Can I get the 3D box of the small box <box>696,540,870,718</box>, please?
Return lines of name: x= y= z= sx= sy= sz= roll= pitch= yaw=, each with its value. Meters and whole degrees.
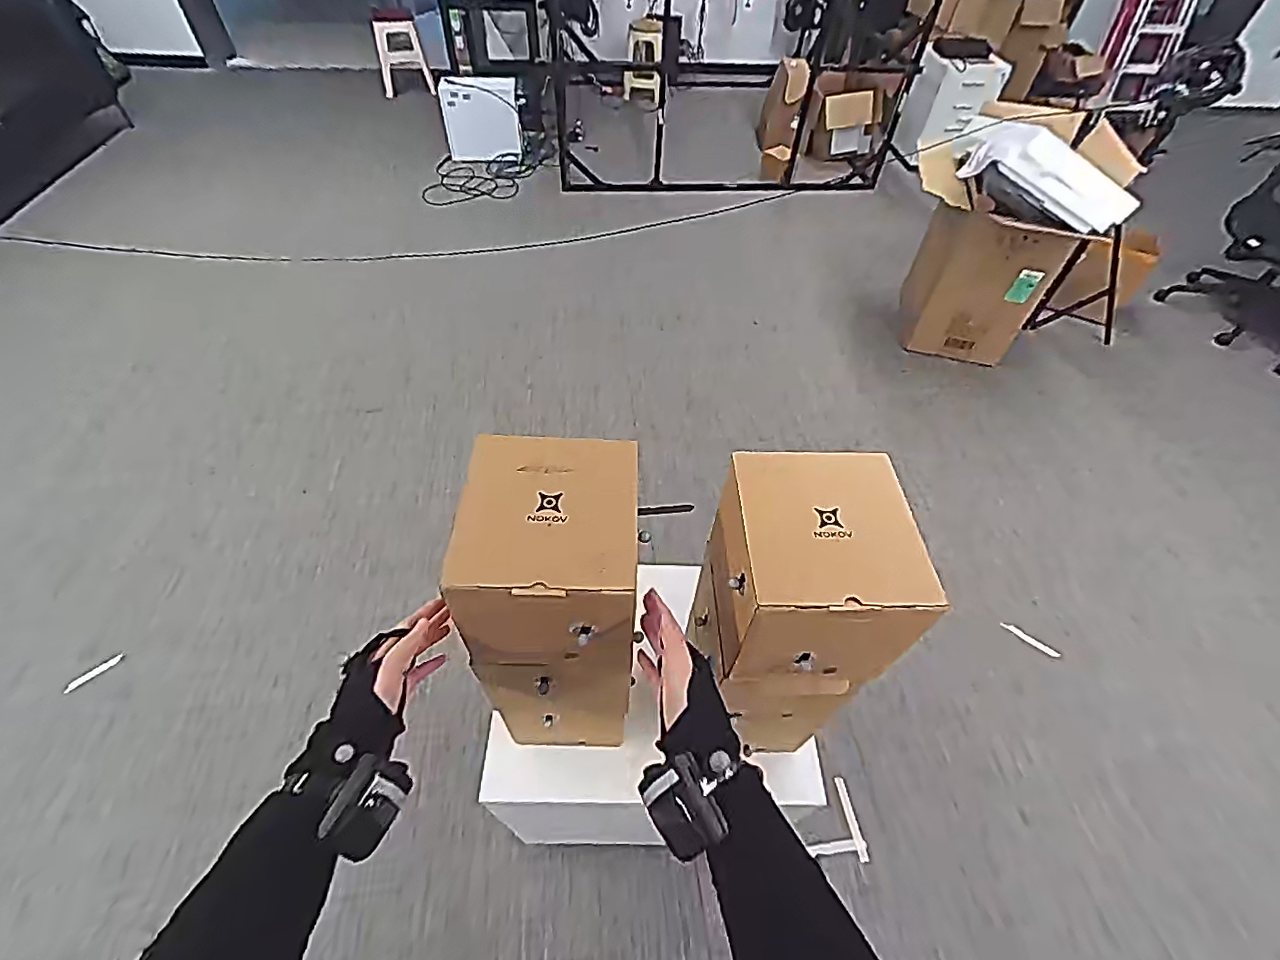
small box: x=0.166 y=0.194 z=0.691 sx=0.168 sy=0.176 sz=0.179 roll=1 pitch=50 yaw=-2

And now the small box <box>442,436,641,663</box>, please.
small box: x=-0.086 y=0.077 z=0.561 sx=0.168 sy=0.176 sz=0.179 roll=3 pitch=50 yaw=-2

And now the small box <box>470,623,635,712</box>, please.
small box: x=-0.096 y=0.184 z=0.684 sx=0.179 sy=0.176 sz=0.168 roll=3 pitch=52 yaw=-1

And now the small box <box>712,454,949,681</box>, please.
small box: x=0.173 y=0.093 z=0.564 sx=0.168 sy=0.176 sz=0.179 roll=1 pitch=51 yaw=-3

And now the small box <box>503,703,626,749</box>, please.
small box: x=-0.102 y=0.285 z=0.815 sx=0.168 sy=0.176 sz=0.179 roll=3 pitch=50 yaw=-1
